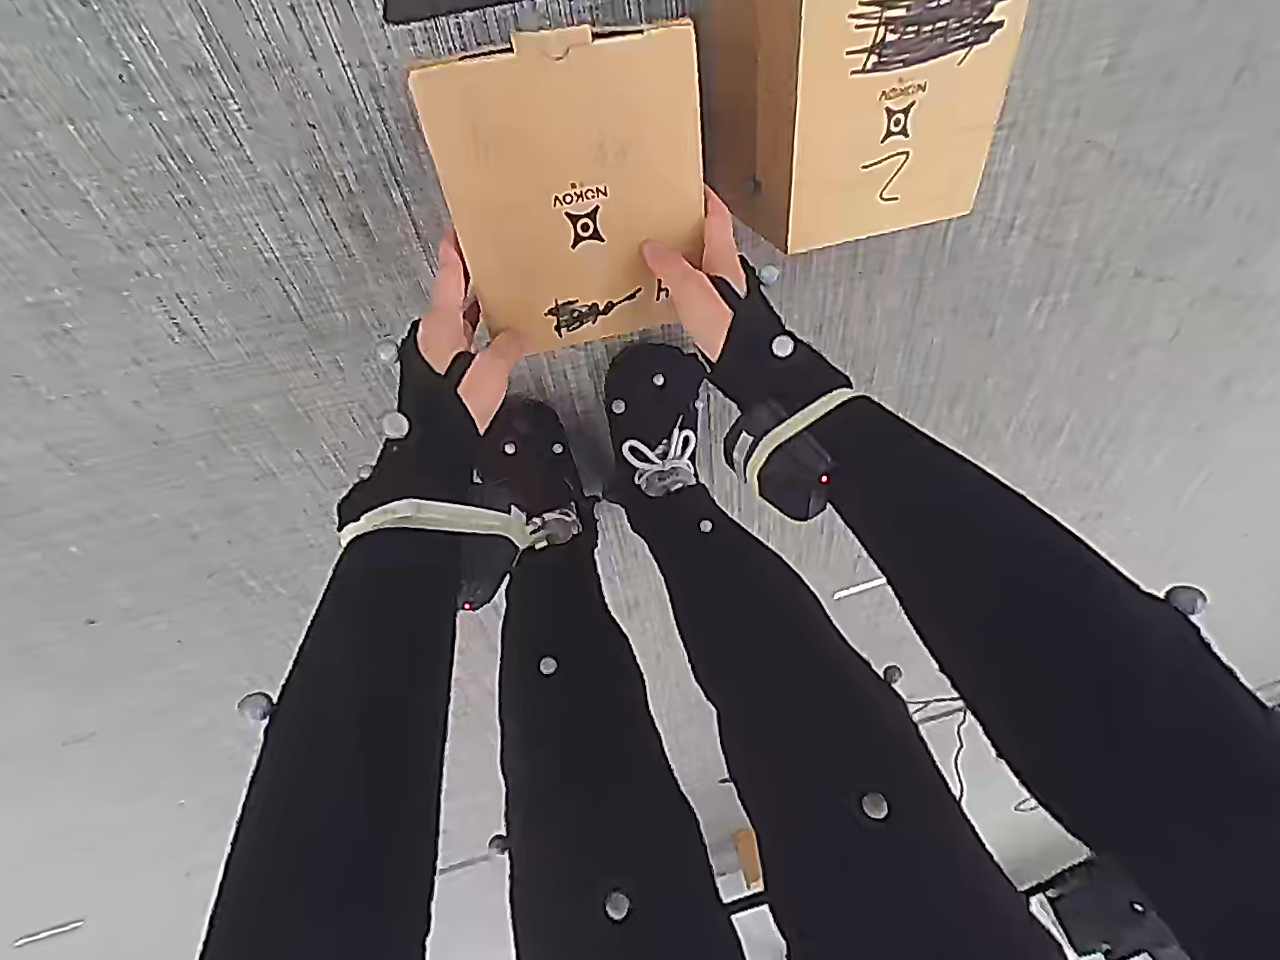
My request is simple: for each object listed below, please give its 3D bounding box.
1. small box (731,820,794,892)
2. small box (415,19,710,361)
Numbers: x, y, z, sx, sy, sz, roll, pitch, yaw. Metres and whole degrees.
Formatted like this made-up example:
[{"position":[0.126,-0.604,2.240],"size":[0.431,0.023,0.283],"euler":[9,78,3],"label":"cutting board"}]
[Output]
[{"position":[0.454,1.405,2.026],"size":[0.179,0.176,0.168],"euler":[-13,131,-6],"label":"small box"},{"position":[-0.057,-0.219,0.410],"size":[0.168,0.176,0.179],"euler":[-16,130,-8],"label":"small box"}]
